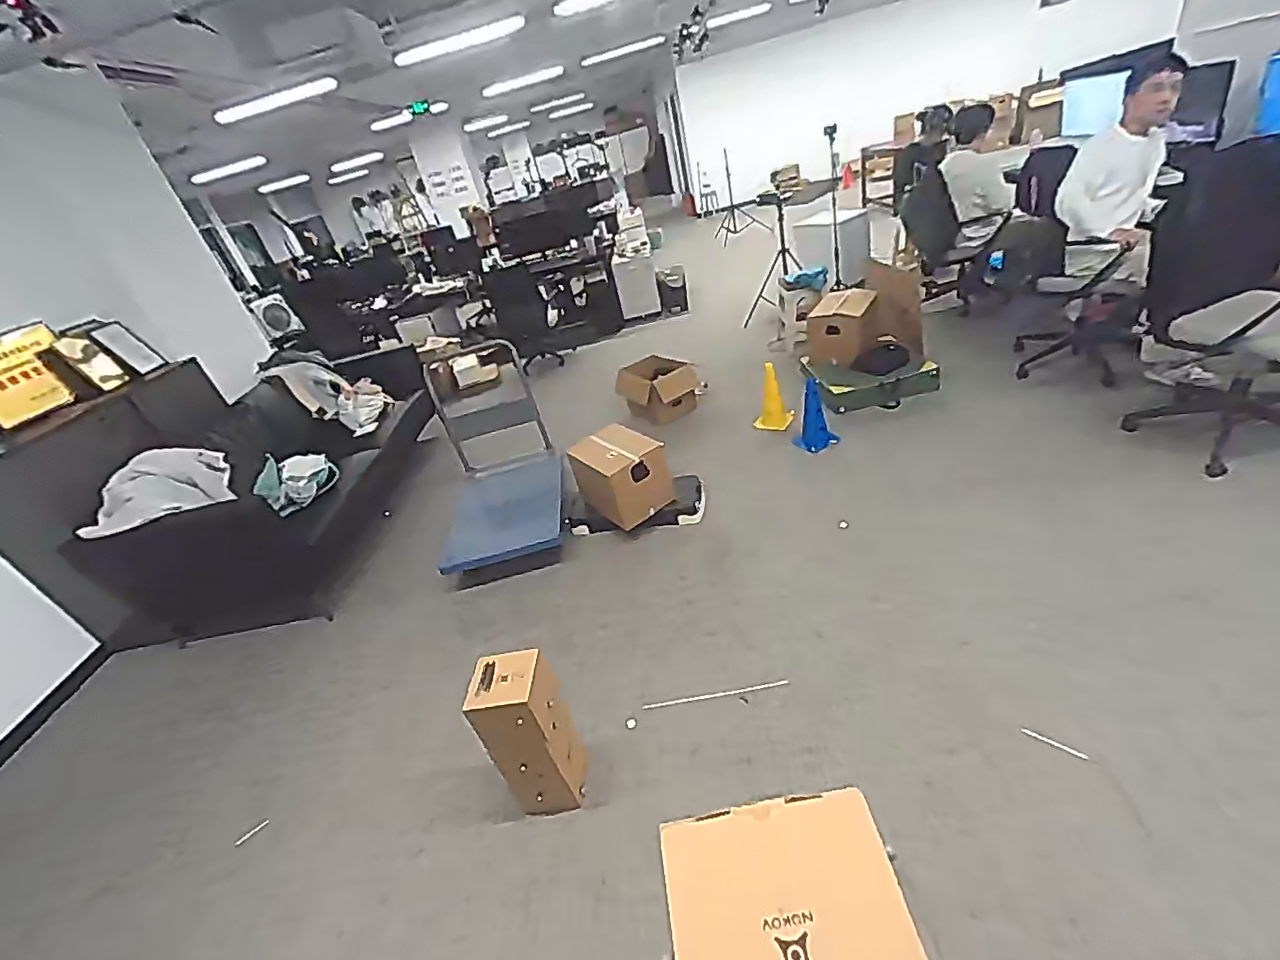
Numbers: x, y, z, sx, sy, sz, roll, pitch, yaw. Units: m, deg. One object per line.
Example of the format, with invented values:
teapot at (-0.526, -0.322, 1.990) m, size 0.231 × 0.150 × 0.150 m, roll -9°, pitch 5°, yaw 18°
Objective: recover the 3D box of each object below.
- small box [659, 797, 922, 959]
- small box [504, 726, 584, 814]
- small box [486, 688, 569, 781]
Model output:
small box at (0.118, 0.379, 0.413) m, size 0.168 × 0.176 × 0.179 m, roll -12°, pitch 40°, yaw 2°
small box at (-0.274, 0.856, 1.598) m, size 0.179 × 0.176 × 0.168 m, roll -12°, pitch 31°, yaw 8°
small box at (-0.307, 0.718, 1.514) m, size 0.168 × 0.176 × 0.179 m, roll -11°, pitch 31°, yaw 7°
